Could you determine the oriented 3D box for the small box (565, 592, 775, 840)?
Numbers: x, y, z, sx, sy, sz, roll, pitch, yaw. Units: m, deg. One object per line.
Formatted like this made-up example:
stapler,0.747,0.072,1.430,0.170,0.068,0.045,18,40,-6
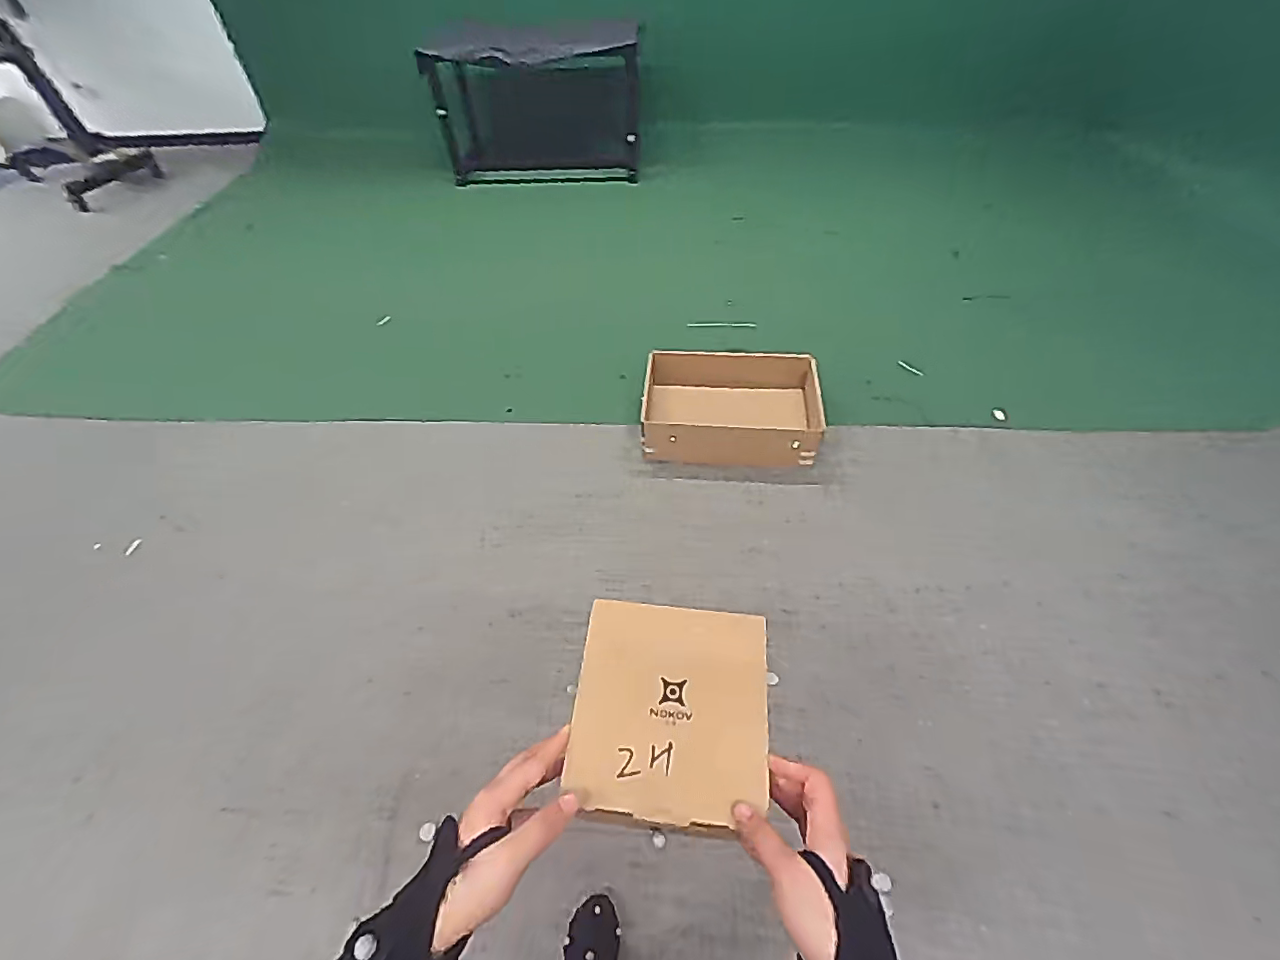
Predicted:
small box,0.033,0.233,0.527,0.168,0.176,0.179,6,55,5
